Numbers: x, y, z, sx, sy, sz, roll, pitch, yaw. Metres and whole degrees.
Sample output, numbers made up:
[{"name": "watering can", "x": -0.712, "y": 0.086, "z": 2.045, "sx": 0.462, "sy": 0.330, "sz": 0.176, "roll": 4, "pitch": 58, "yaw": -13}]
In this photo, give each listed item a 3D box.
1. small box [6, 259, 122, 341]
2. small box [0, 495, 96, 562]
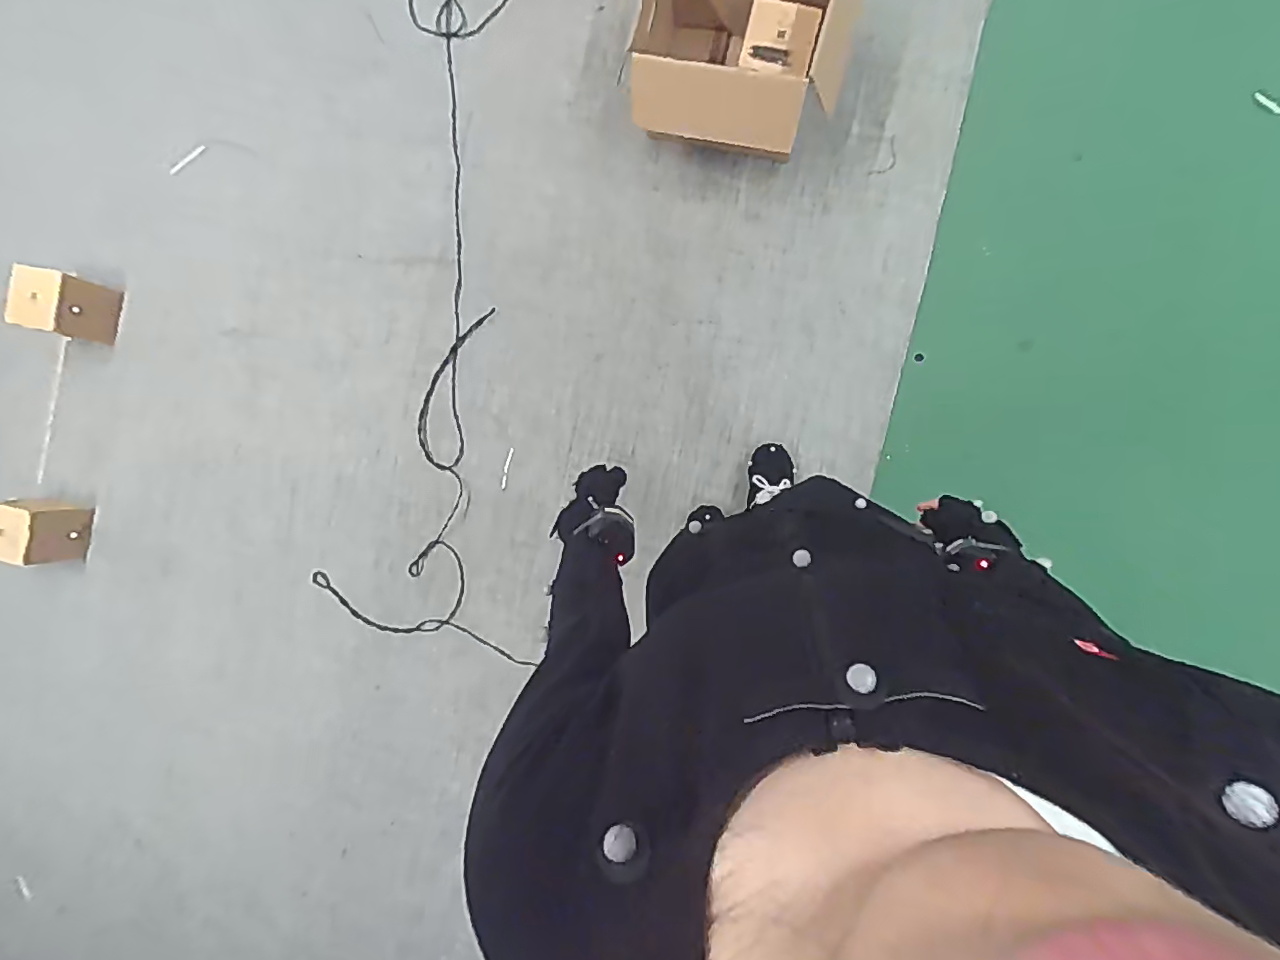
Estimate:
[{"name": "small box", "x": -1.715, "y": -0.533, "z": 1.619, "sx": 0.168, "sy": 0.176, "sz": 0.179, "roll": 12, "pitch": 93, "yaw": 6}, {"name": "small box", "x": -1.836, "y": 0.142, "z": 1.649, "sx": 0.179, "sy": 0.176, "sz": 0.168, "roll": 12, "pitch": 93, "yaw": 6}]
